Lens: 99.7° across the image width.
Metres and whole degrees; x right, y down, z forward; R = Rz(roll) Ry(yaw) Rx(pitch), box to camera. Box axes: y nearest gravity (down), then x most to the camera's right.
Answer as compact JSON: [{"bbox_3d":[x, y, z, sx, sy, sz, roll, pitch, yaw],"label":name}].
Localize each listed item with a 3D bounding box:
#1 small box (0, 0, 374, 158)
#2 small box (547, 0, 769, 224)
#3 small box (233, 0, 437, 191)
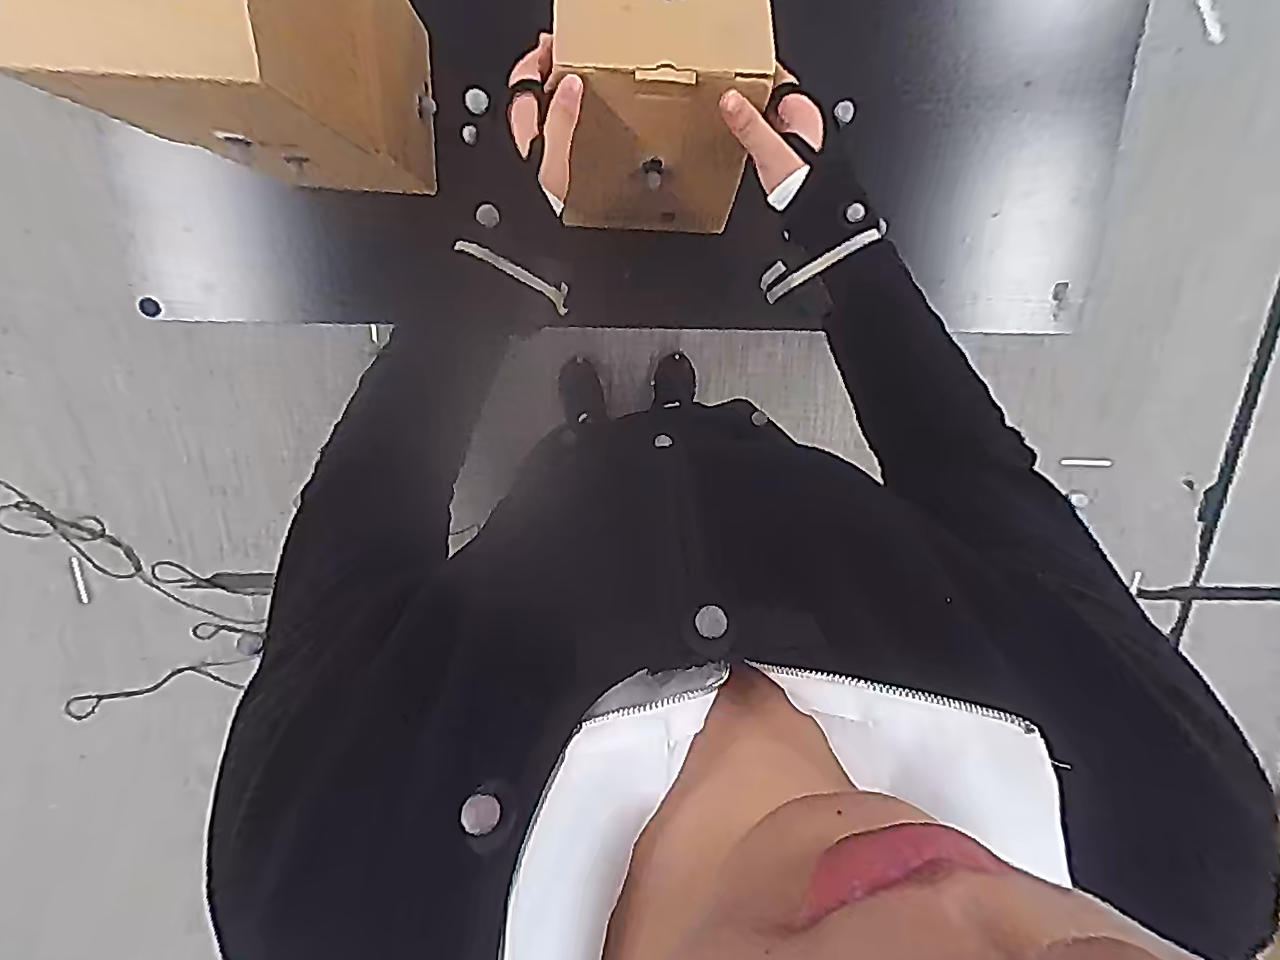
[{"bbox_3d":[-0.313,-0.356,0.386,0.168,0.176,0.179,1,107,-2],"label":"small box"},{"bbox_3d":[0.008,-0.358,0.487,0.168,0.176,0.179,-1,77,-5],"label":"small box"},{"bbox_3d":[-0.320,-0.401,0.542,0.179,0.176,0.168,1,106,-5],"label":"small box"}]
